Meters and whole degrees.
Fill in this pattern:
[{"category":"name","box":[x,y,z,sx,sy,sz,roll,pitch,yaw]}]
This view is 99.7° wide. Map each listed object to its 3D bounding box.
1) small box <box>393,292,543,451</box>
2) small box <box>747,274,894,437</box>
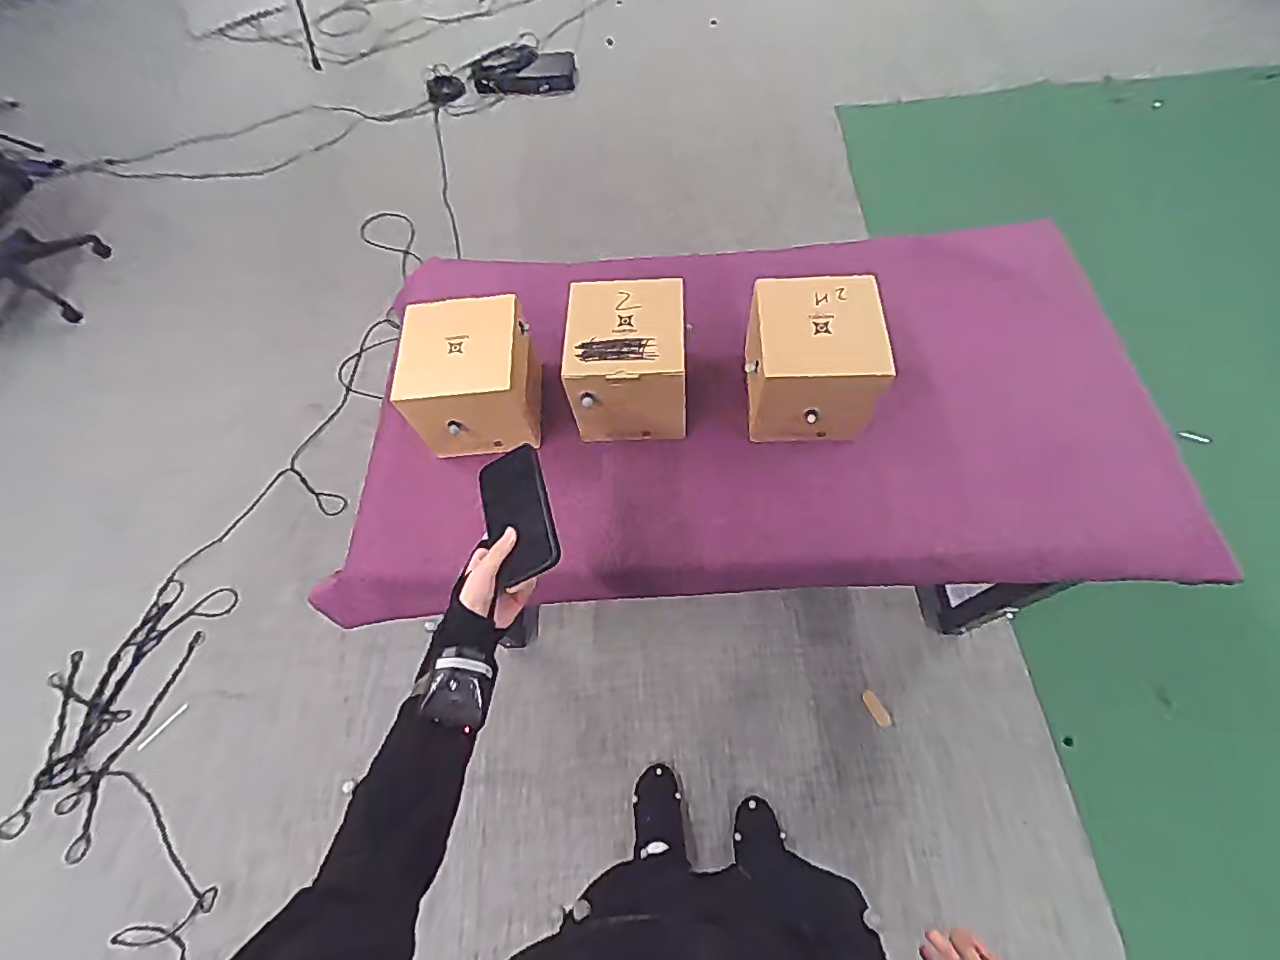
[{"category":"small box","box":[-0.249,-0.155,0.829,0.168,0.176,0.179,-5,62,3]},{"category":"small box","box":[0.250,-0.174,0.793,0.168,0.176,0.179,1,63,5]}]
